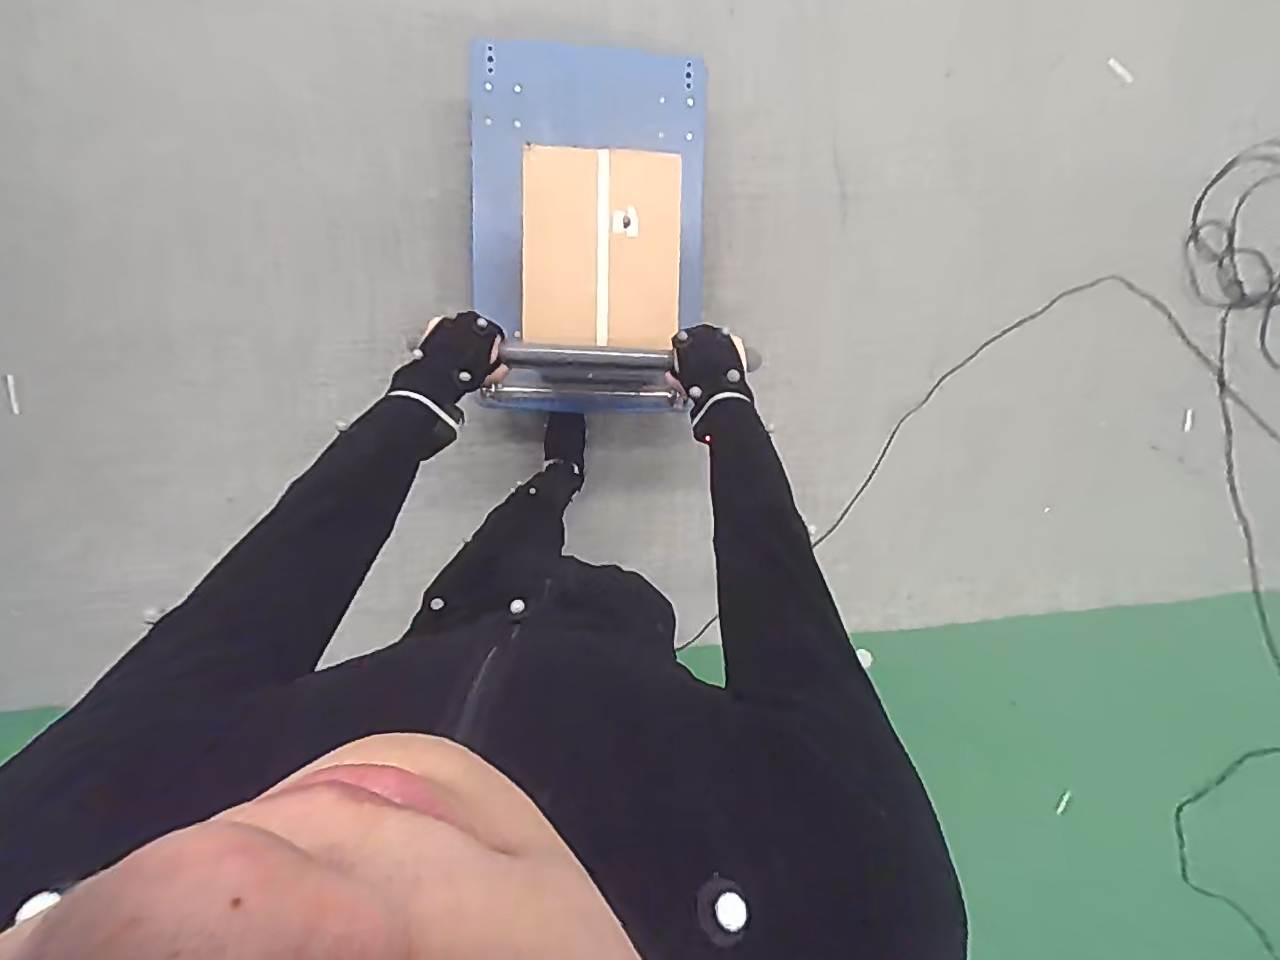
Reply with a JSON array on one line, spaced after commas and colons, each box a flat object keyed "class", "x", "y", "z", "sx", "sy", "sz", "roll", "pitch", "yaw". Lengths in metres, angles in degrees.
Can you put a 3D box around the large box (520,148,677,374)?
[{"class": "large box", "x": -0.094, "y": -0.457, "z": 1.225, "sx": 0.320, "sy": 0.320, "sz": 0.408, "roll": 0, "pitch": 95, "yaw": -7}]
